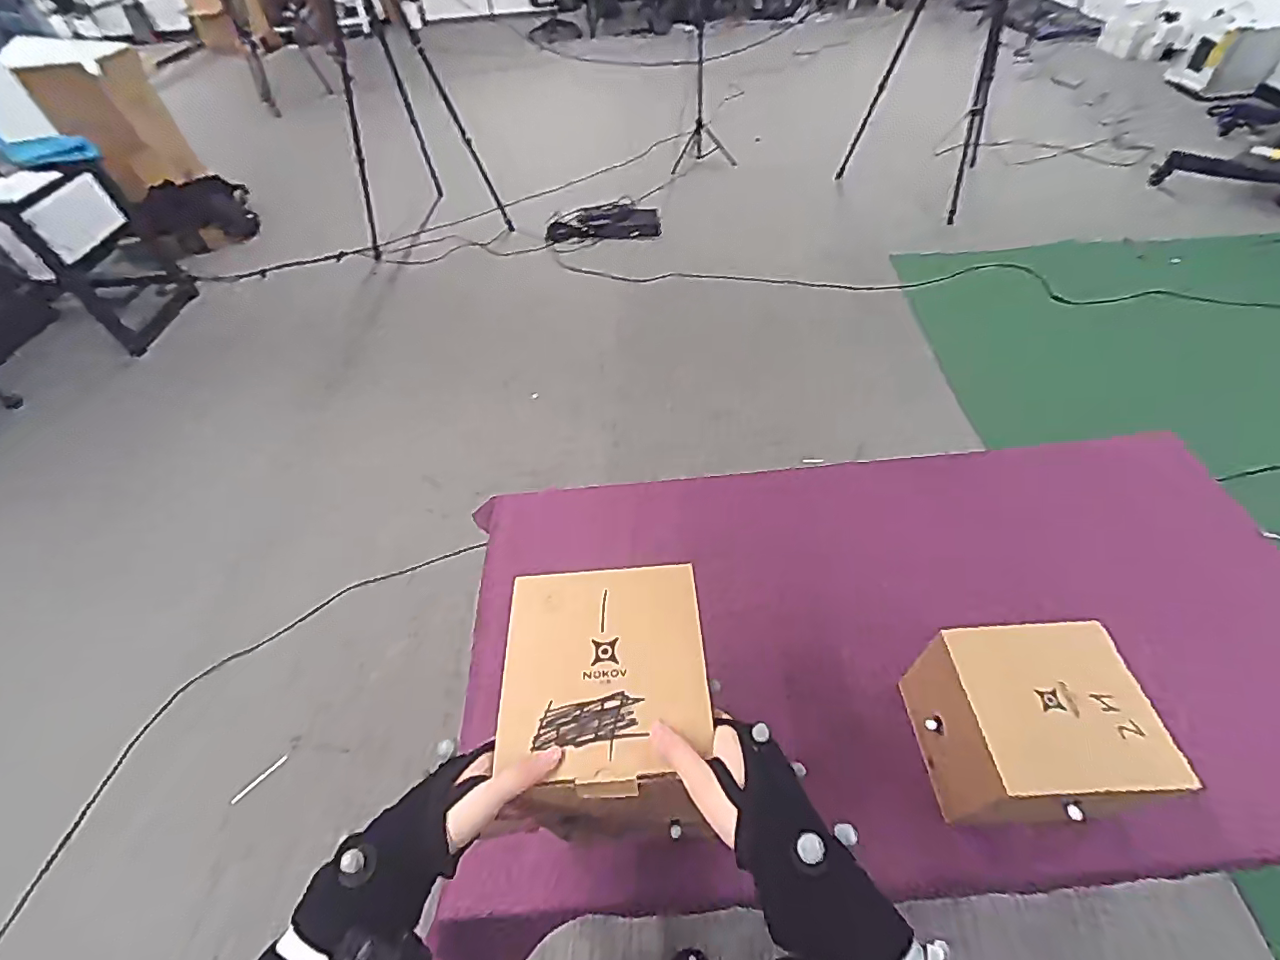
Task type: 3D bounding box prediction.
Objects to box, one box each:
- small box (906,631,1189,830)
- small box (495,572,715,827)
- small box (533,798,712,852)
[{"bbox_3d":[0.425,0.286,0.611,0.179,0.176,0.168,-3,50,2],"label":"small box"},{"bbox_3d":[-0.023,0.209,0.502,0.168,0.176,0.179,-5,48,0],"label":"small box"},{"bbox_3d":[-0.014,0.318,0.625,0.179,0.176,0.168,-4,49,0],"label":"small box"}]
